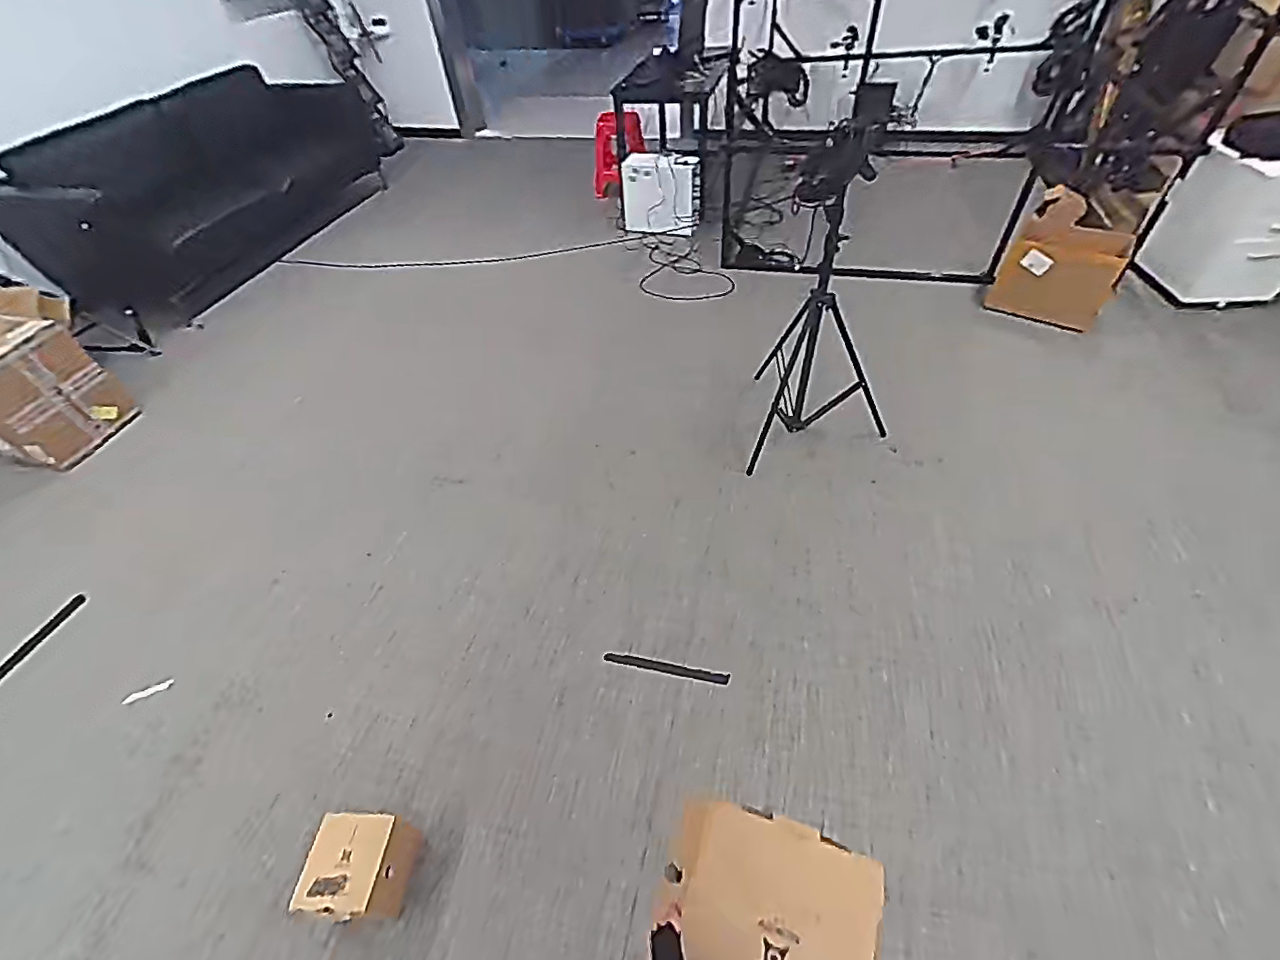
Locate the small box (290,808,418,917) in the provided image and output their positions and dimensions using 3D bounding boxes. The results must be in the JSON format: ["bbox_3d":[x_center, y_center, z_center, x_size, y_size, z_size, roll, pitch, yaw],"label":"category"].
[{"bbox_3d":[-0.623,0.856,1.208,0.168,0.176,0.179,0,46,5],"label":"small box"}]
